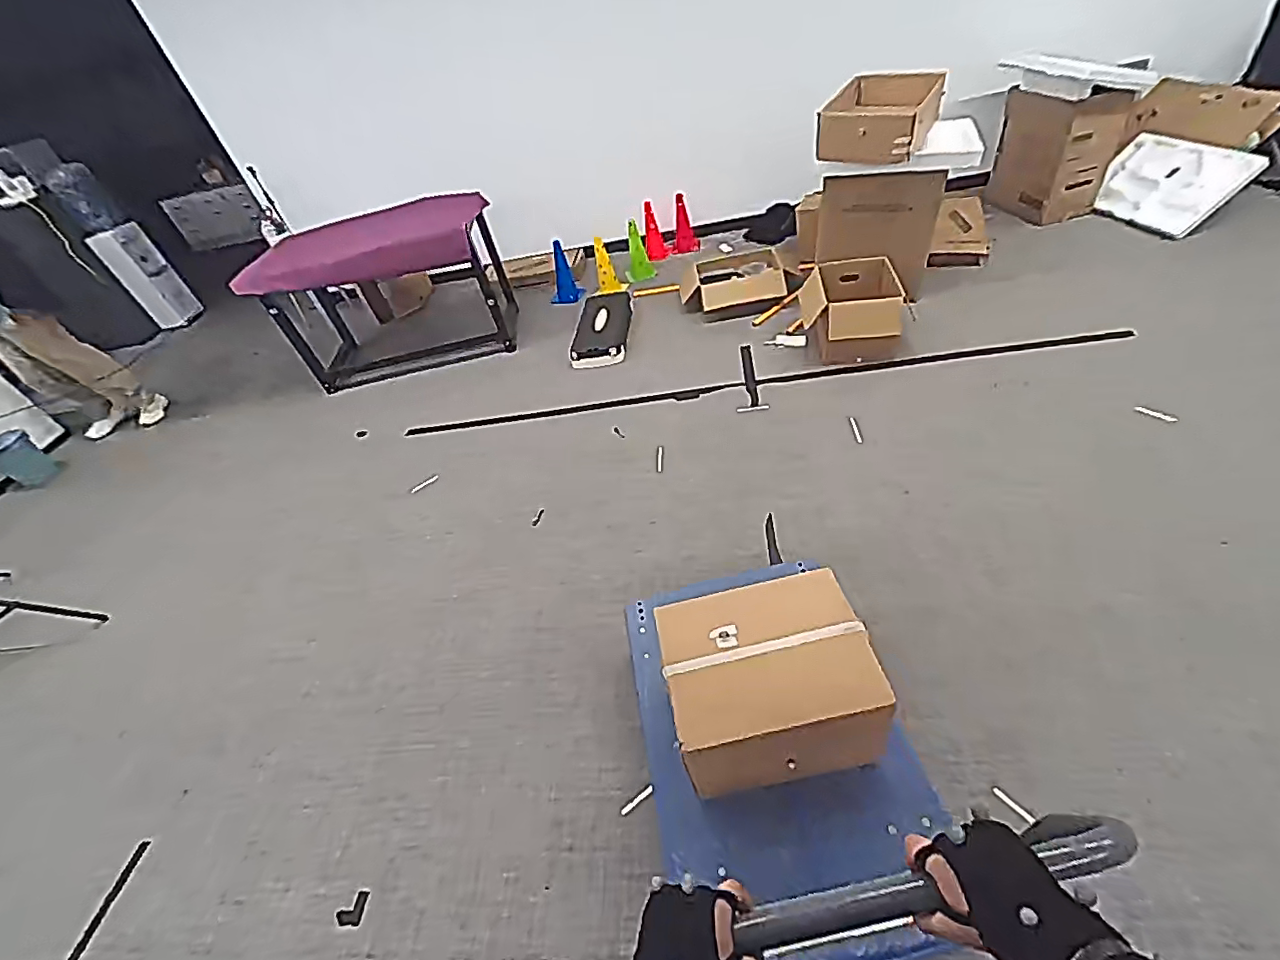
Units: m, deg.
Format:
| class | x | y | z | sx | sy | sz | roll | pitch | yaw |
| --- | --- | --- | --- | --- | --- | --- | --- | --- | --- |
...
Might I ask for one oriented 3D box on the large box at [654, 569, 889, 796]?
| class | x | y | z | sx | sy | sz | roll | pitch | yaw |
| --- | --- | --- | --- | --- | --- | --- | --- | --- | --- |
| large box | 0.276 | 0.454 | 1.206 | 0.408 | 0.320 | 0.320 | -15 | 42 | 2 |
